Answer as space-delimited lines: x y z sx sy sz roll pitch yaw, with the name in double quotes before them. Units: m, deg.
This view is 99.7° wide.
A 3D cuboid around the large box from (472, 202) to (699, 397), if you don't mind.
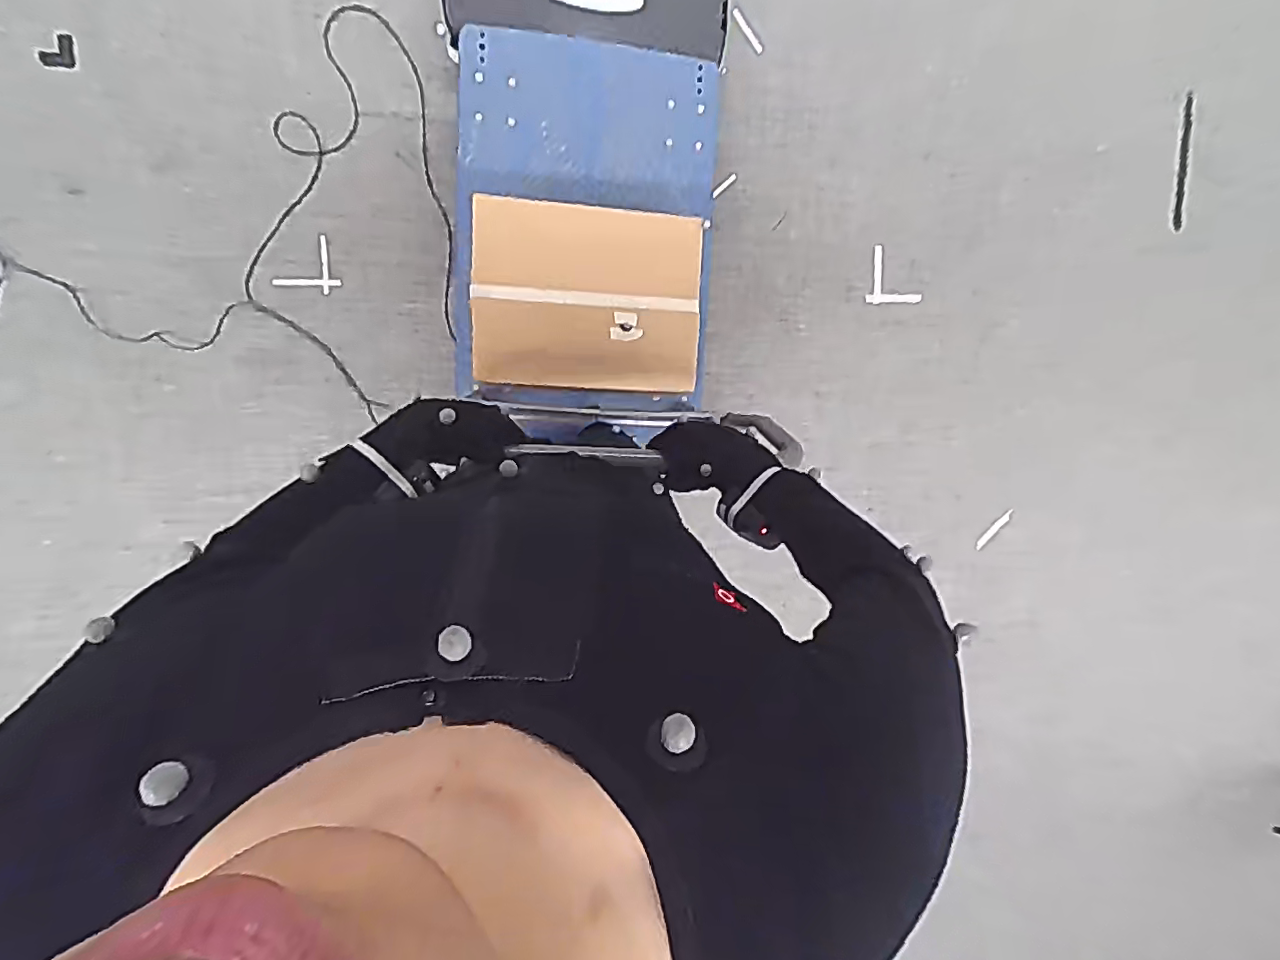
"large box" -0.119 -0.335 1.108 0.408 0.320 0.320 1 98 -10
